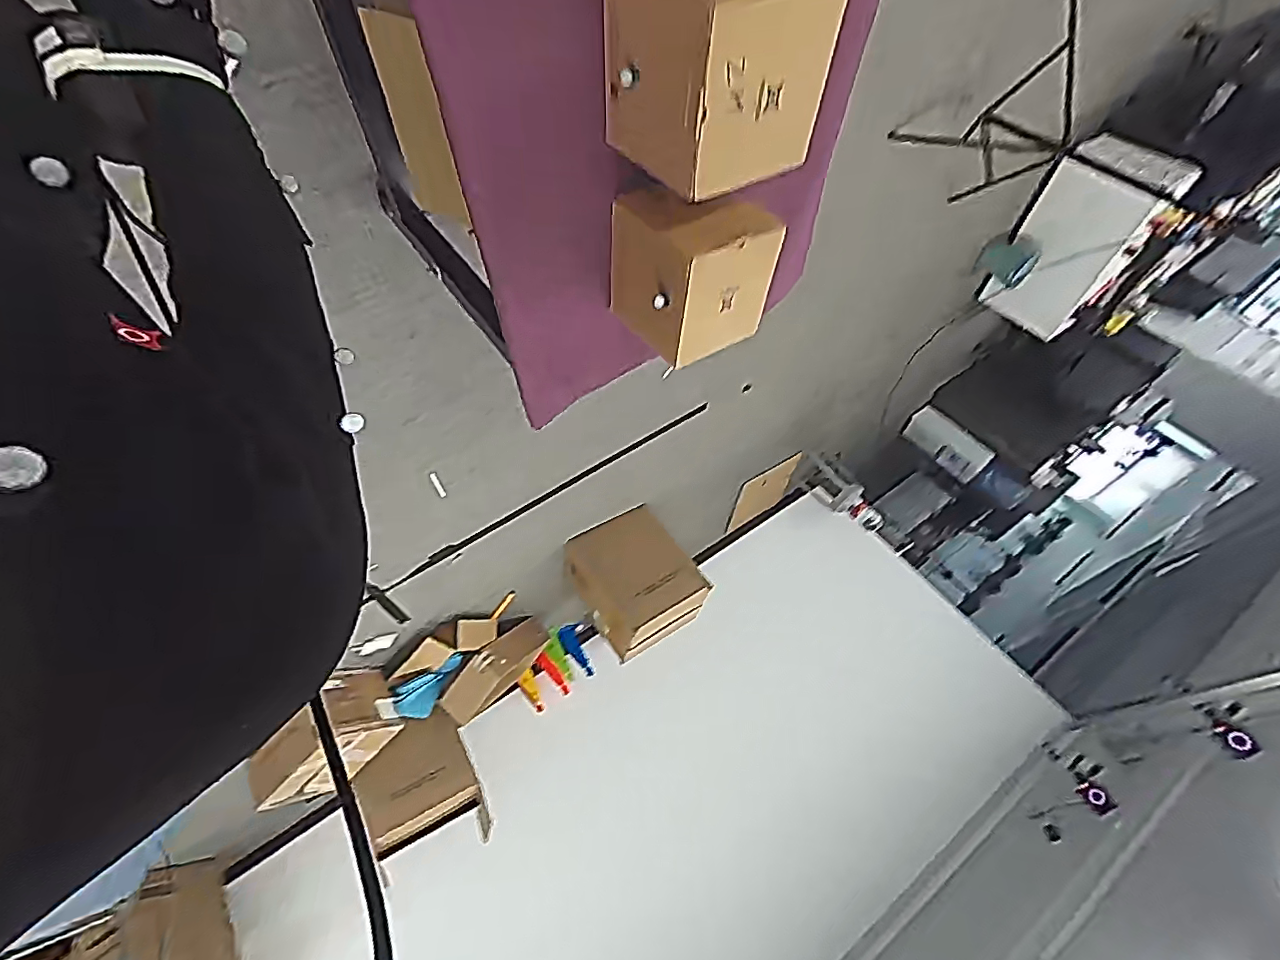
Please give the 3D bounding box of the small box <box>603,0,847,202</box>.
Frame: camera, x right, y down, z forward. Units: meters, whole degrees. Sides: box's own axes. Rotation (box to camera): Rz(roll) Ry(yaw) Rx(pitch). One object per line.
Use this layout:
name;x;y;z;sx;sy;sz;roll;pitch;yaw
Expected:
small box;0.079;-0.440;0.587;0.179;0.176;0.168;-29;151;-22

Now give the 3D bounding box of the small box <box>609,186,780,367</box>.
small box;0.067;-0.301;0.784;0.168;0.176;0.179;-29;150;-24
